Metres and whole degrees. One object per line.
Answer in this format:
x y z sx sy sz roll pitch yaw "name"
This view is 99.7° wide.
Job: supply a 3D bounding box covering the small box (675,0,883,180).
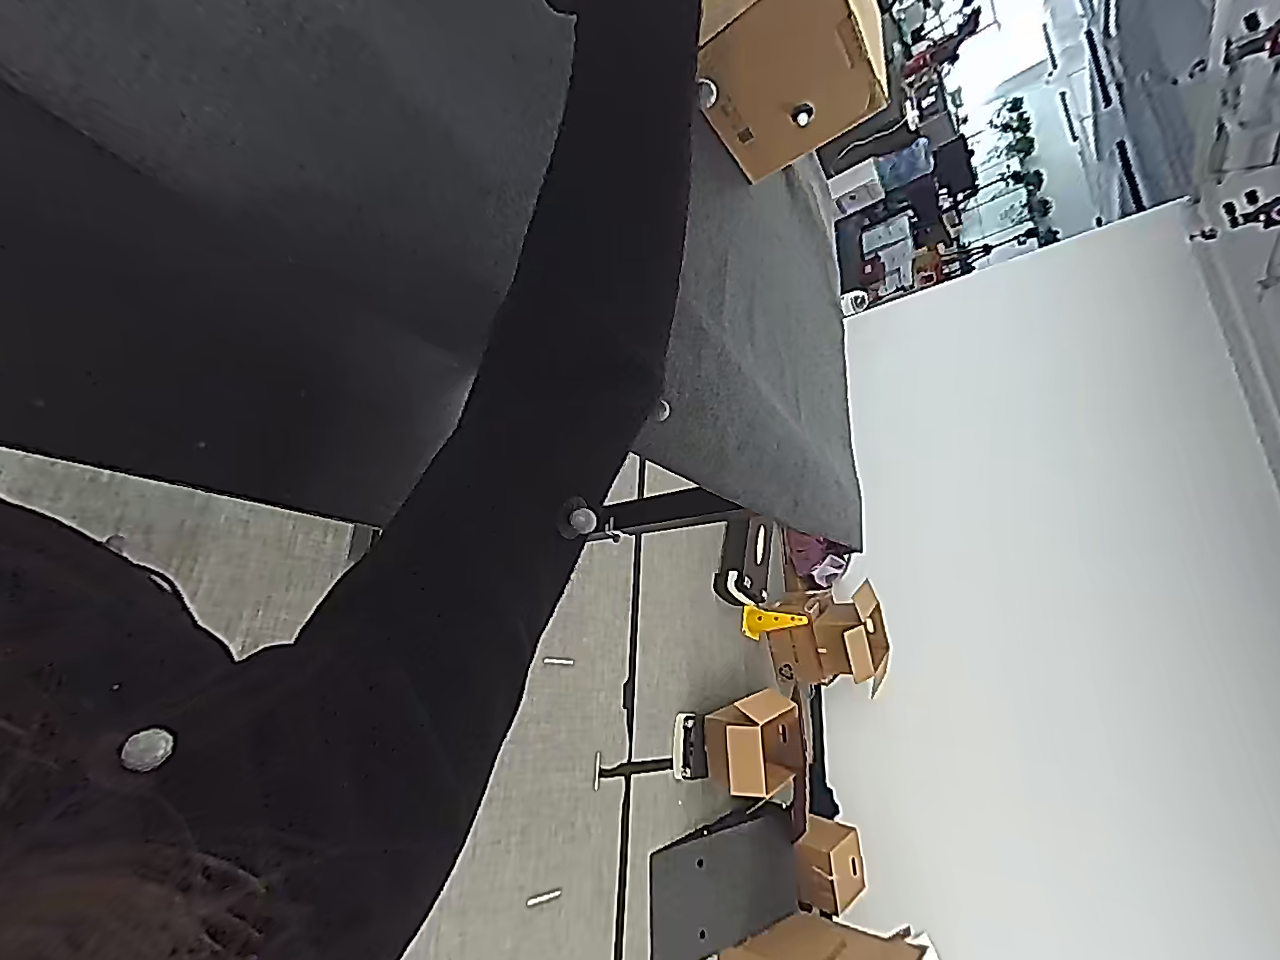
0.154 -0.485 0.604 0.168 0.176 0.179 30 57 -44 "small box"
